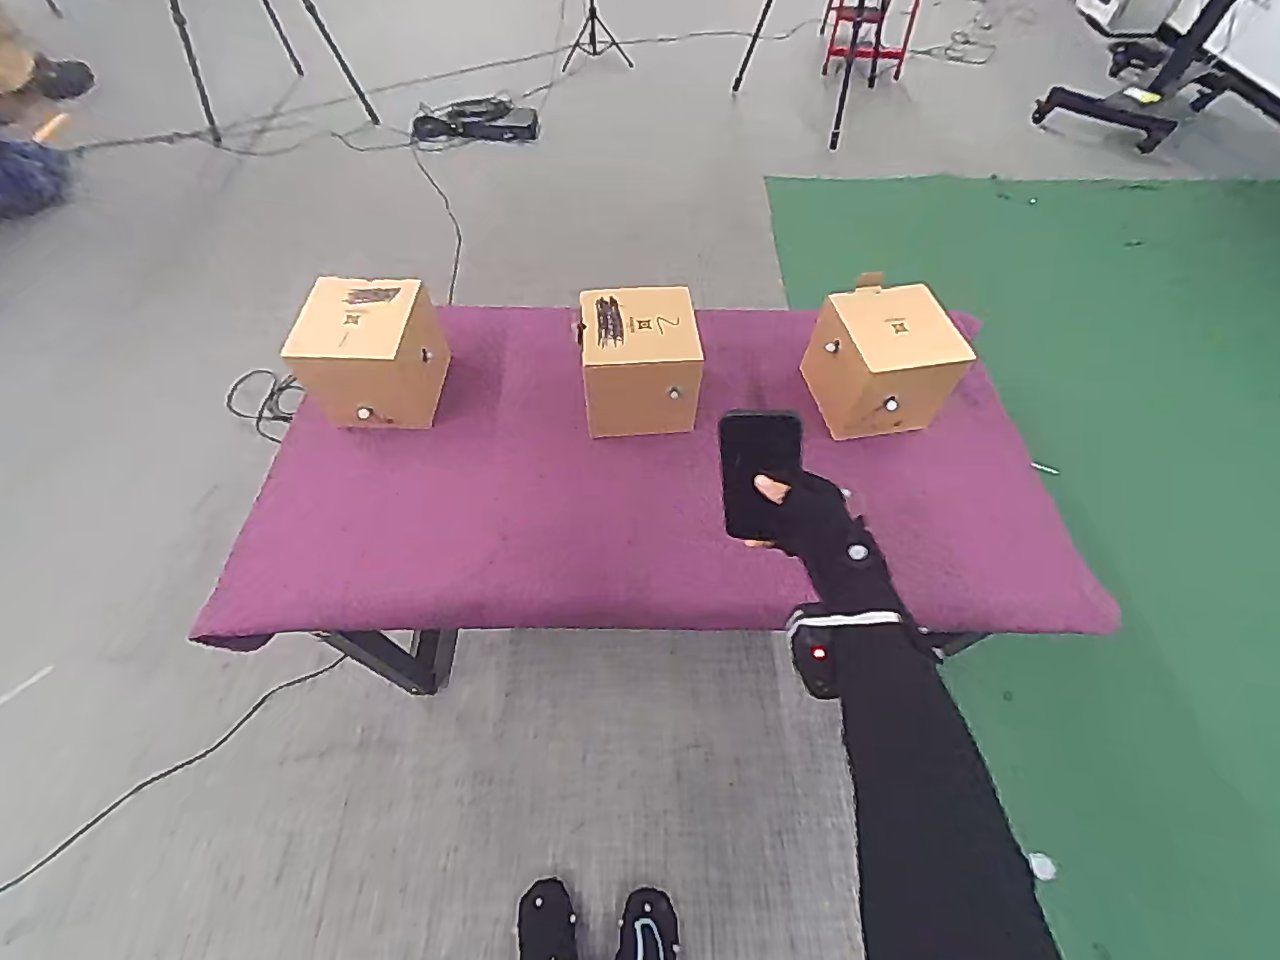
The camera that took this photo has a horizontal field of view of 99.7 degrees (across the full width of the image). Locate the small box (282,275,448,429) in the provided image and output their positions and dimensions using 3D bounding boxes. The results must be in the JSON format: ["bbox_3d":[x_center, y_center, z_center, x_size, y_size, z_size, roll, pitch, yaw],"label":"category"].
[{"bbox_3d":[-0.426,-0.204,0.875,0.168,0.176,0.179,2,59,0],"label":"small box"}]

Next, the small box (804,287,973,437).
[{"bbox_3d":[0.388,-0.184,0.882,0.168,0.176,0.179,-8,57,-6],"label":"small box"}]
